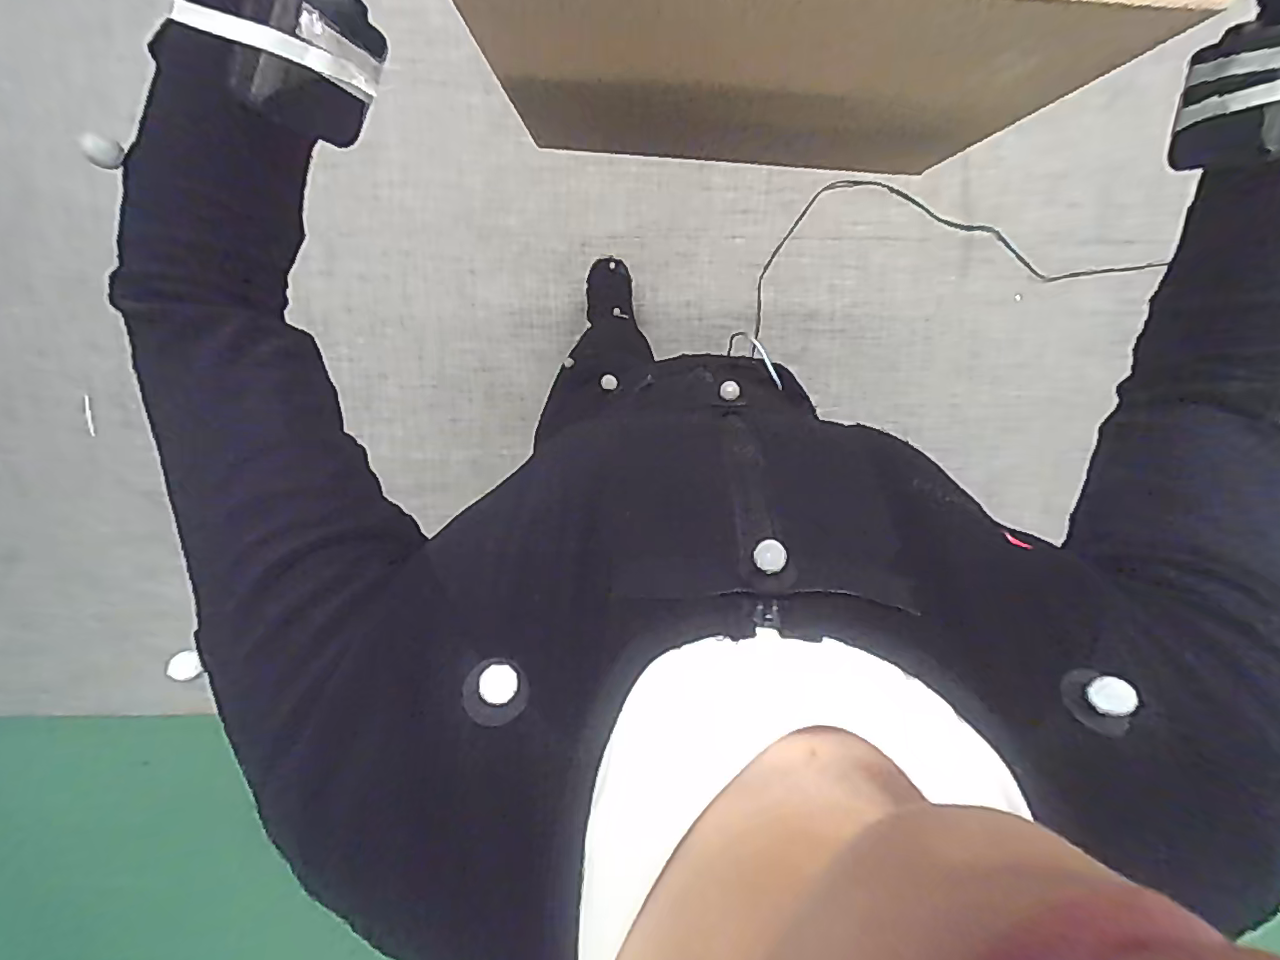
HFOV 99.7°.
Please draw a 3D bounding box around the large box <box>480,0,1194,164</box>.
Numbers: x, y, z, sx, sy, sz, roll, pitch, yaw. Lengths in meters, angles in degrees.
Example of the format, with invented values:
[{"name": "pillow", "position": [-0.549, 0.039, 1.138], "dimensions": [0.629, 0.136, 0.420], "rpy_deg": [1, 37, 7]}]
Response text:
[{"name": "large box", "position": [0.103, -0.444, 0.383], "dimensions": [0.408, 0.320, 0.320], "rpy_deg": [2, 106, -2]}]
